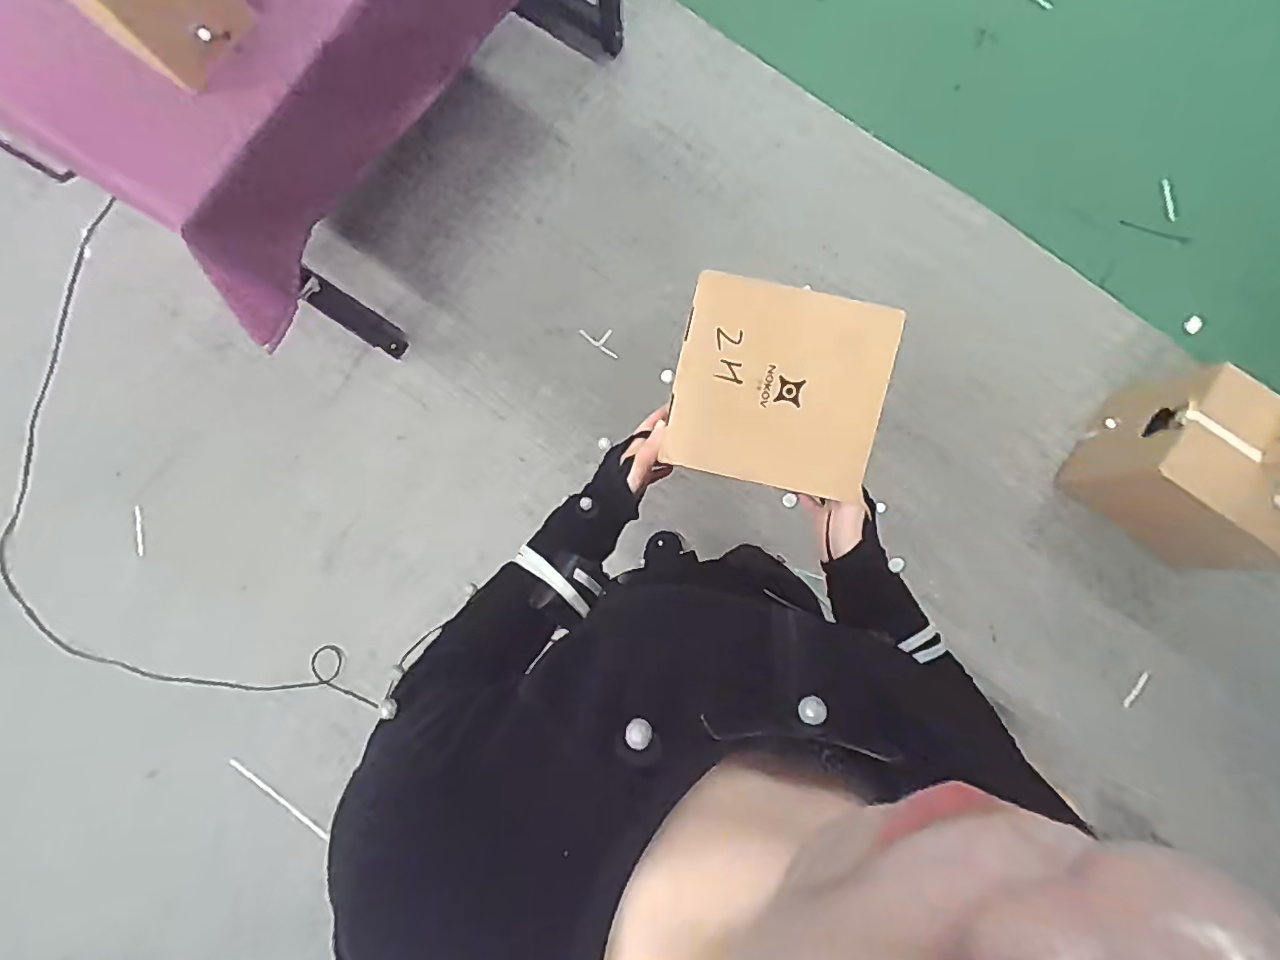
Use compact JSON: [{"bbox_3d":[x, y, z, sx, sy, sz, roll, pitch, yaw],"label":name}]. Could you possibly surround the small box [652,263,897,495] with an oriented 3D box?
[{"bbox_3d":[0.116,-0.092,0.536,0.179,0.176,0.168,13,95,2],"label":"small box"}]
